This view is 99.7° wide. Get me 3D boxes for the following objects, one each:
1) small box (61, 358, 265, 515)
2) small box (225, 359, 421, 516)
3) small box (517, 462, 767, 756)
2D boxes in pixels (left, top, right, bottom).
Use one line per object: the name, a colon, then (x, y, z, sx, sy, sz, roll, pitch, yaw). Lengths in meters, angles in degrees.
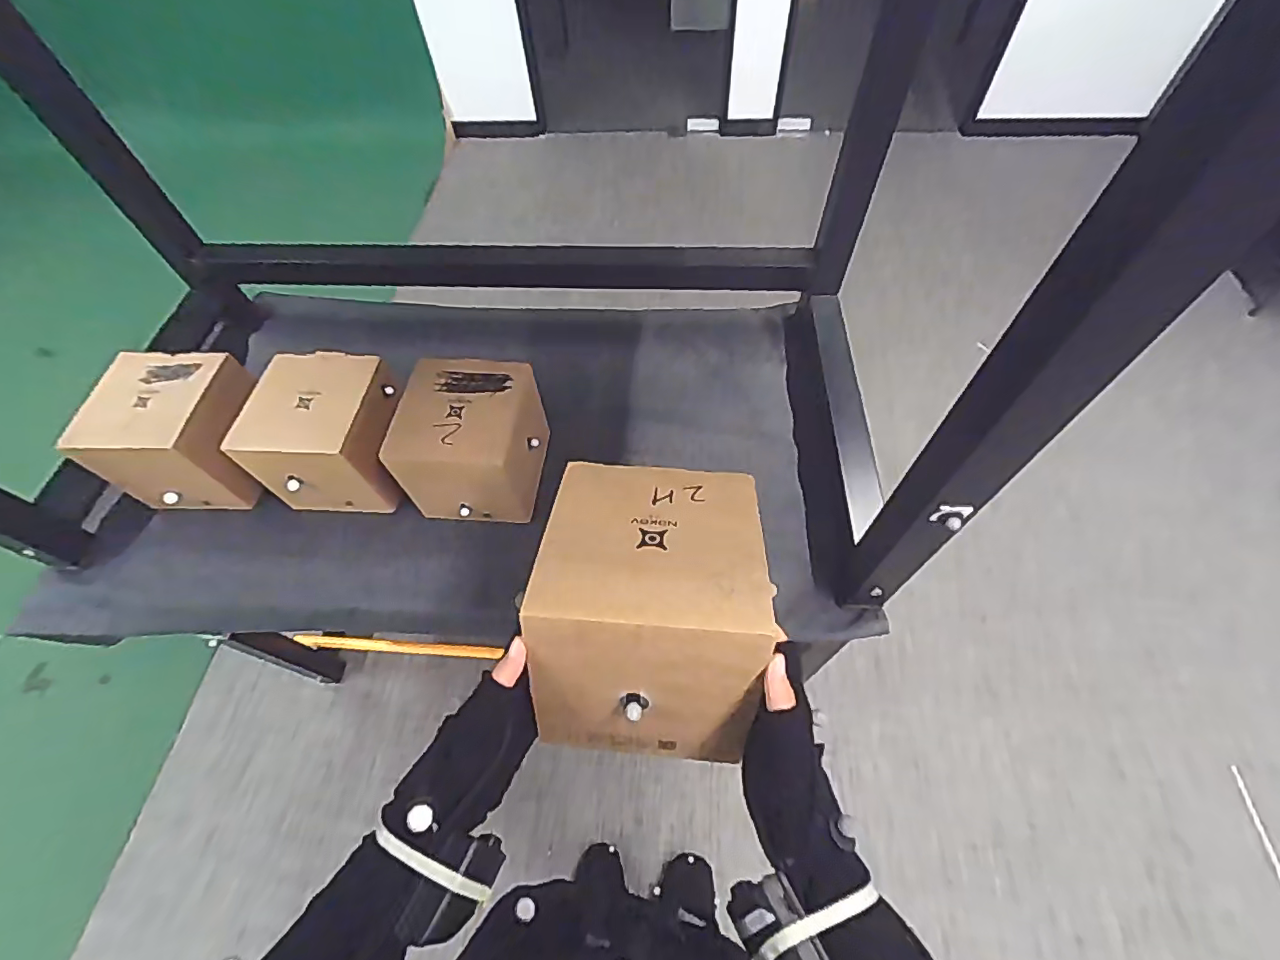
small box: (-0.682, -0.065, 0.824, 0.168, 0.176, 0.179, 0, 58, 3)
small box: (-0.455, -0.059, 0.814, 0.168, 0.176, 0.179, 3, 57, 4)
small box: (0.007, 0.105, 0.458, 0.168, 0.176, 0.179, 4, 35, 3)
